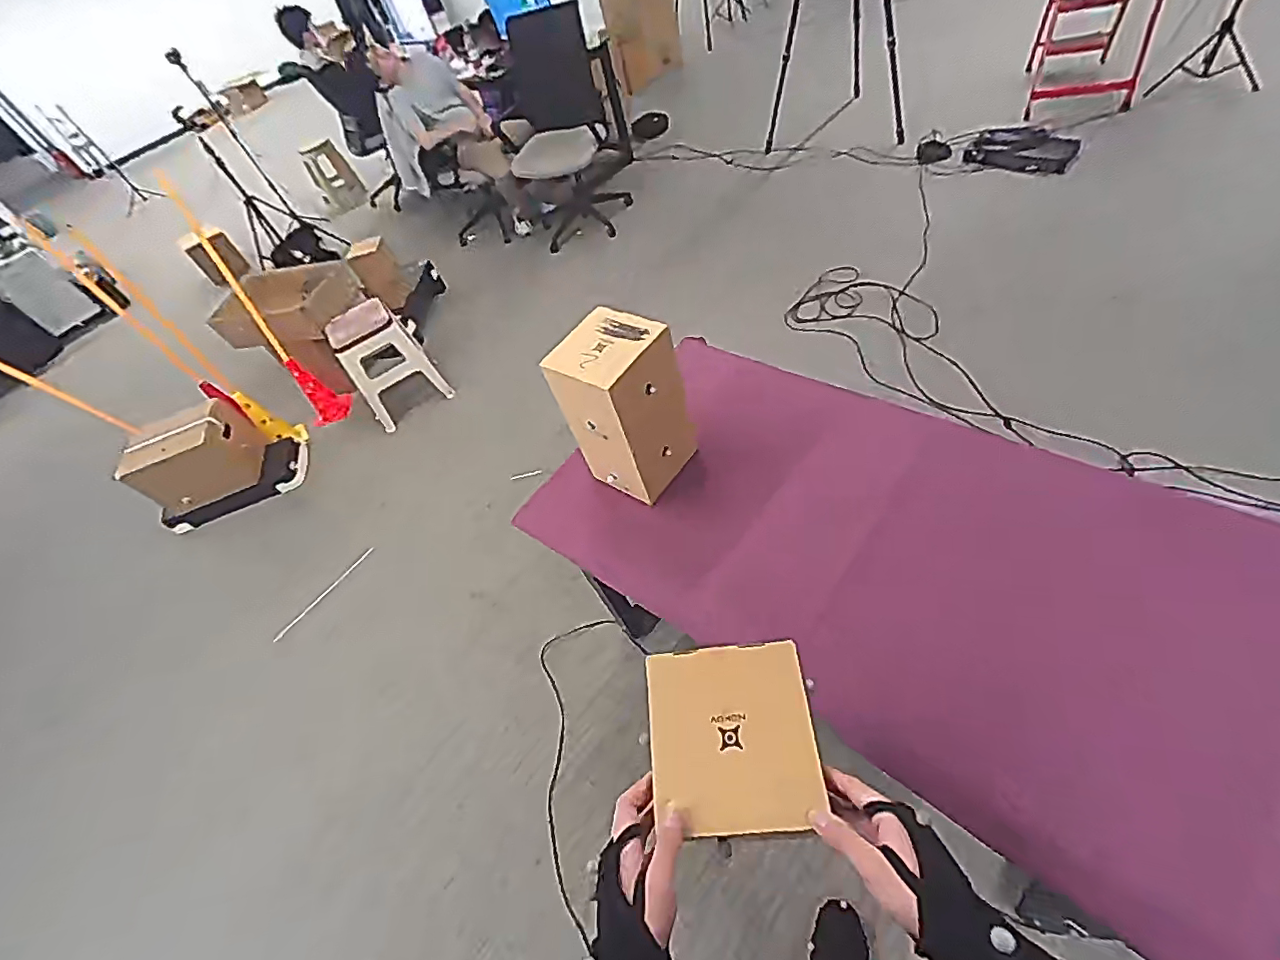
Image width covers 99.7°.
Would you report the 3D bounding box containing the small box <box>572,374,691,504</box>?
[{"bbox_3d":[-0.007,-0.084,1.125,0.168,0.176,0.179,26,64,32],"label":"small box"}]
